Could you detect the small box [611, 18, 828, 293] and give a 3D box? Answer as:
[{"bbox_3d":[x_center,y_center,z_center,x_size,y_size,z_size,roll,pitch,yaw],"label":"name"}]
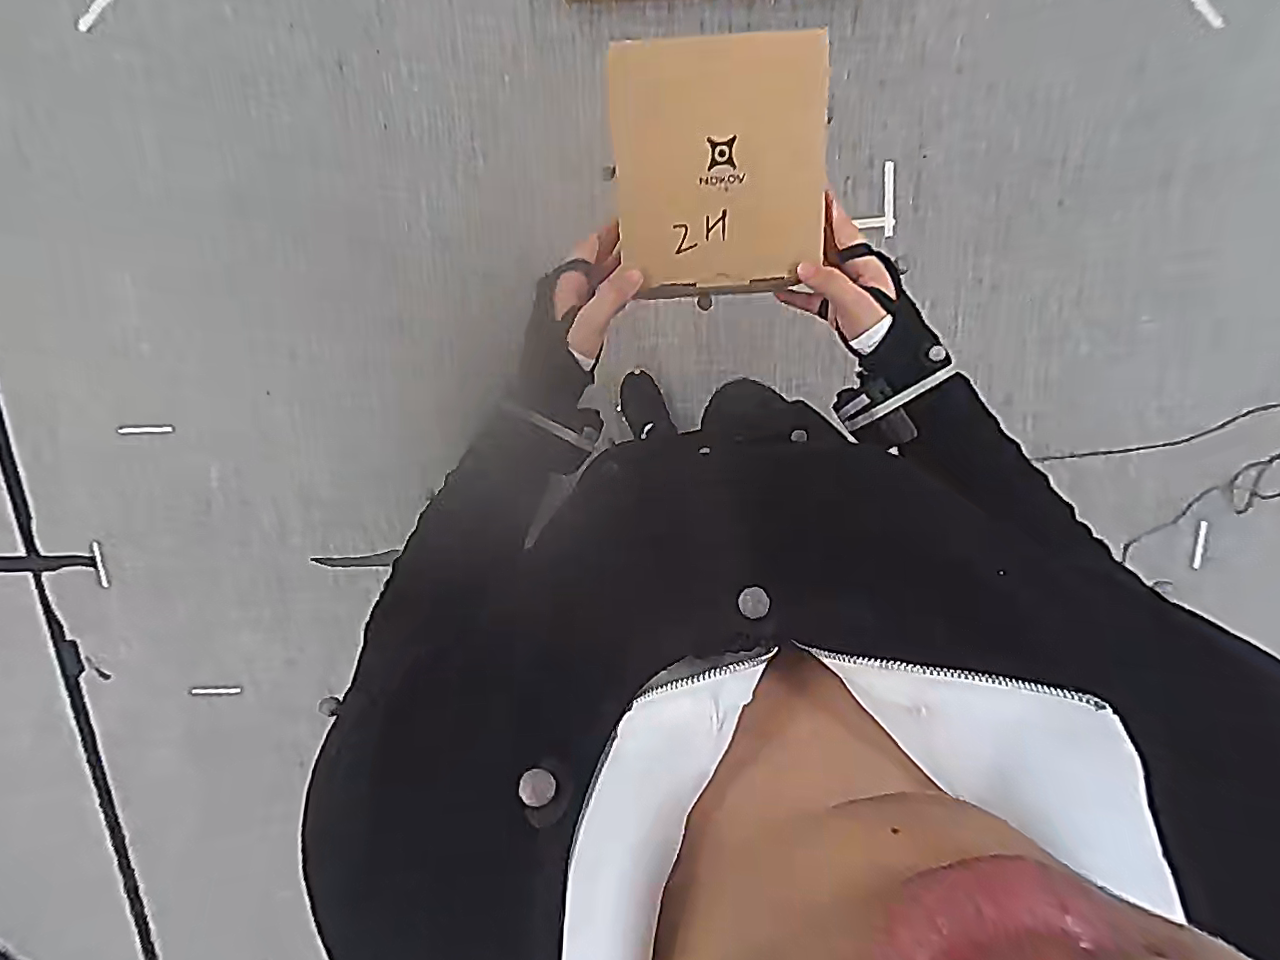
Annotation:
[{"bbox_3d":[0.060,-0.273,0.496,0.168,0.176,0.179,-3,105,1],"label":"small box"}]
